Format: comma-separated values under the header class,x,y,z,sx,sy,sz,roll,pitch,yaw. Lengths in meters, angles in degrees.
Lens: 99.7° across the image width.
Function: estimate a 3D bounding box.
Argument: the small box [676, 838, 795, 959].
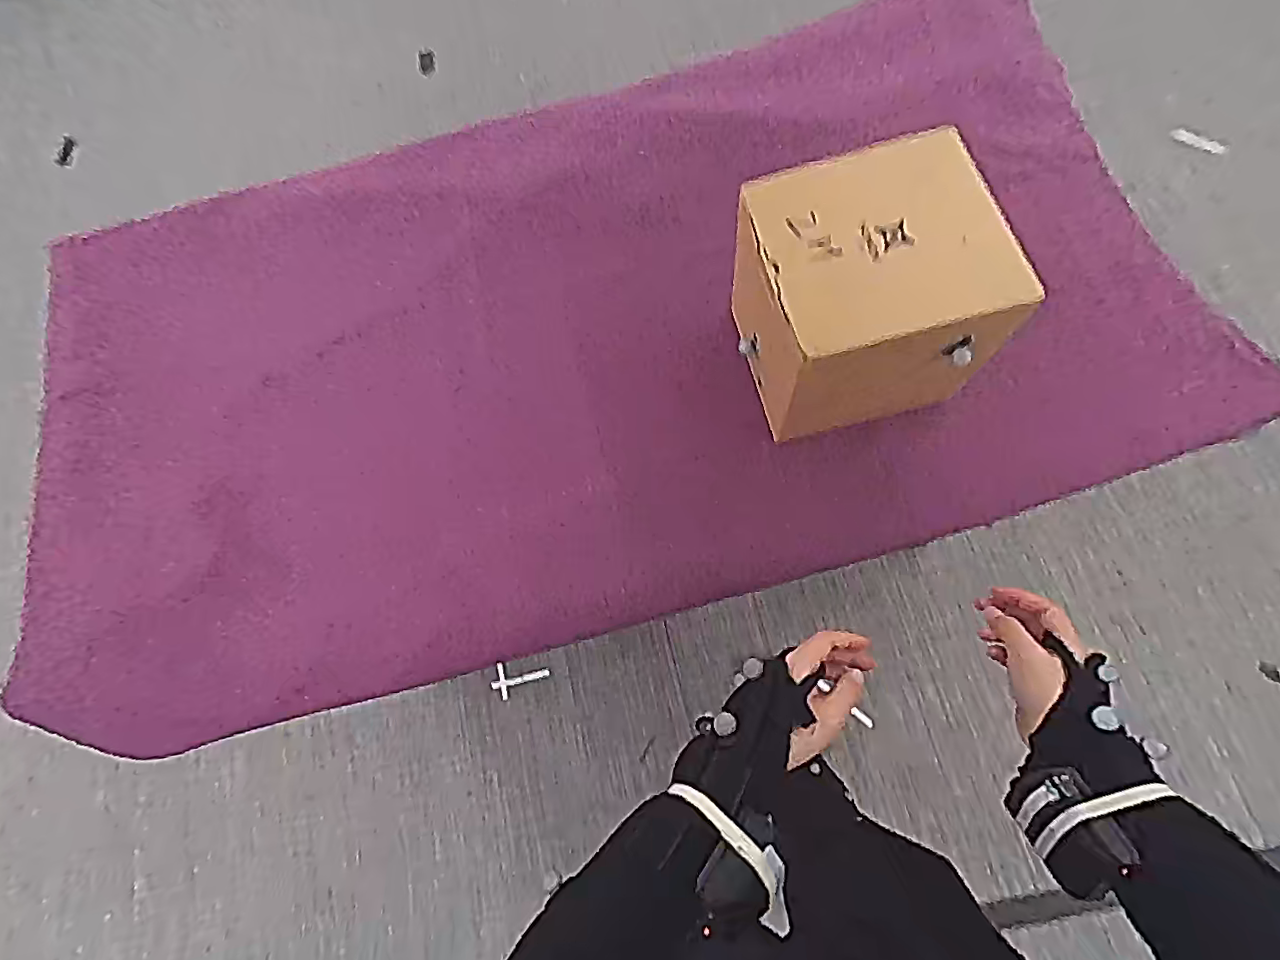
class,x,y,z,sx,sy,sz,roll,pitch,yaw
small box,0.162,0.767,0.973,0.179,0.176,0.168,-6,68,1
